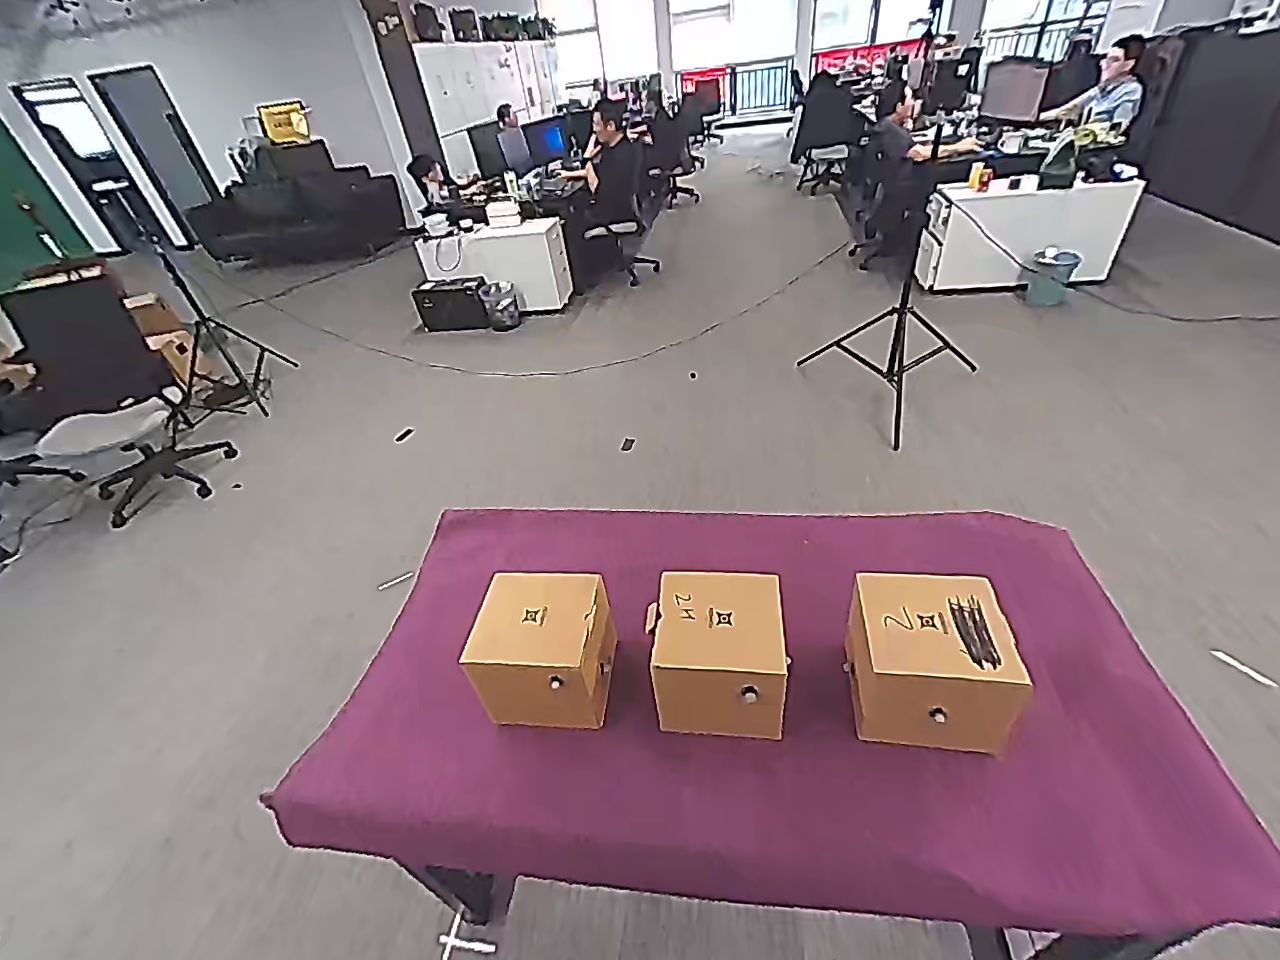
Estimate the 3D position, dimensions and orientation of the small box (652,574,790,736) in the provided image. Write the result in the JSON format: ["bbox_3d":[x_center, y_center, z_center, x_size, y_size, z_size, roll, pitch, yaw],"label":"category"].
[{"bbox_3d":[0.120,0.257,0.797,0.179,0.176,0.168,-1,38,10],"label":"small box"}]

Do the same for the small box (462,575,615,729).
[{"bbox_3d":[-0.144,0.266,0.839,0.179,0.176,0.168,-1,38,8],"label":"small box"}]
